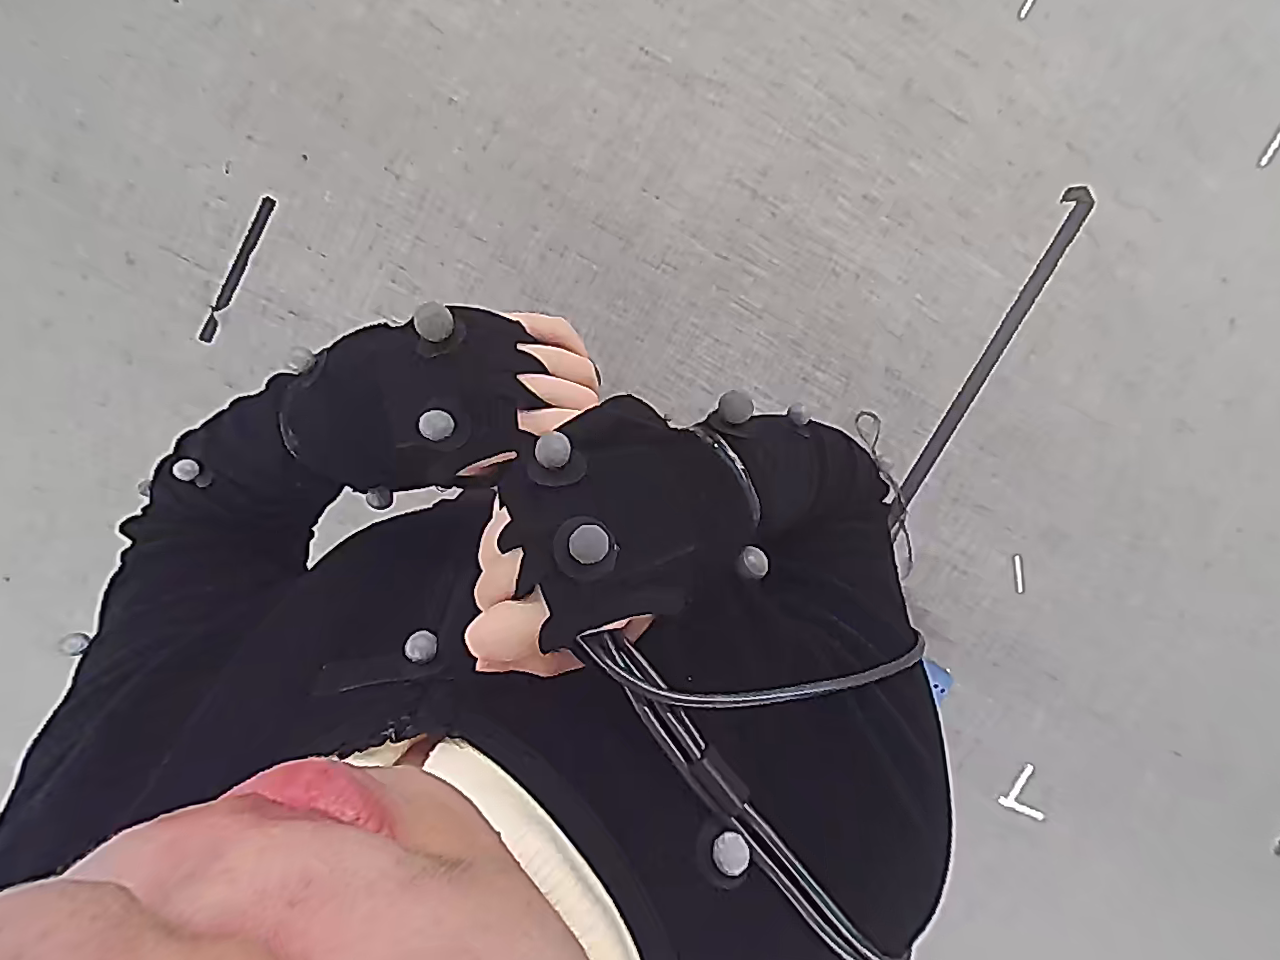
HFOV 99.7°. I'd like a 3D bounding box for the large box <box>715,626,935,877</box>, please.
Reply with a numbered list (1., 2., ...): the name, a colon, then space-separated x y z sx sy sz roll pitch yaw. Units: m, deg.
1. large box: 0.413 0.624 1.296 0.320 0.320 0.408 18 98 -6
